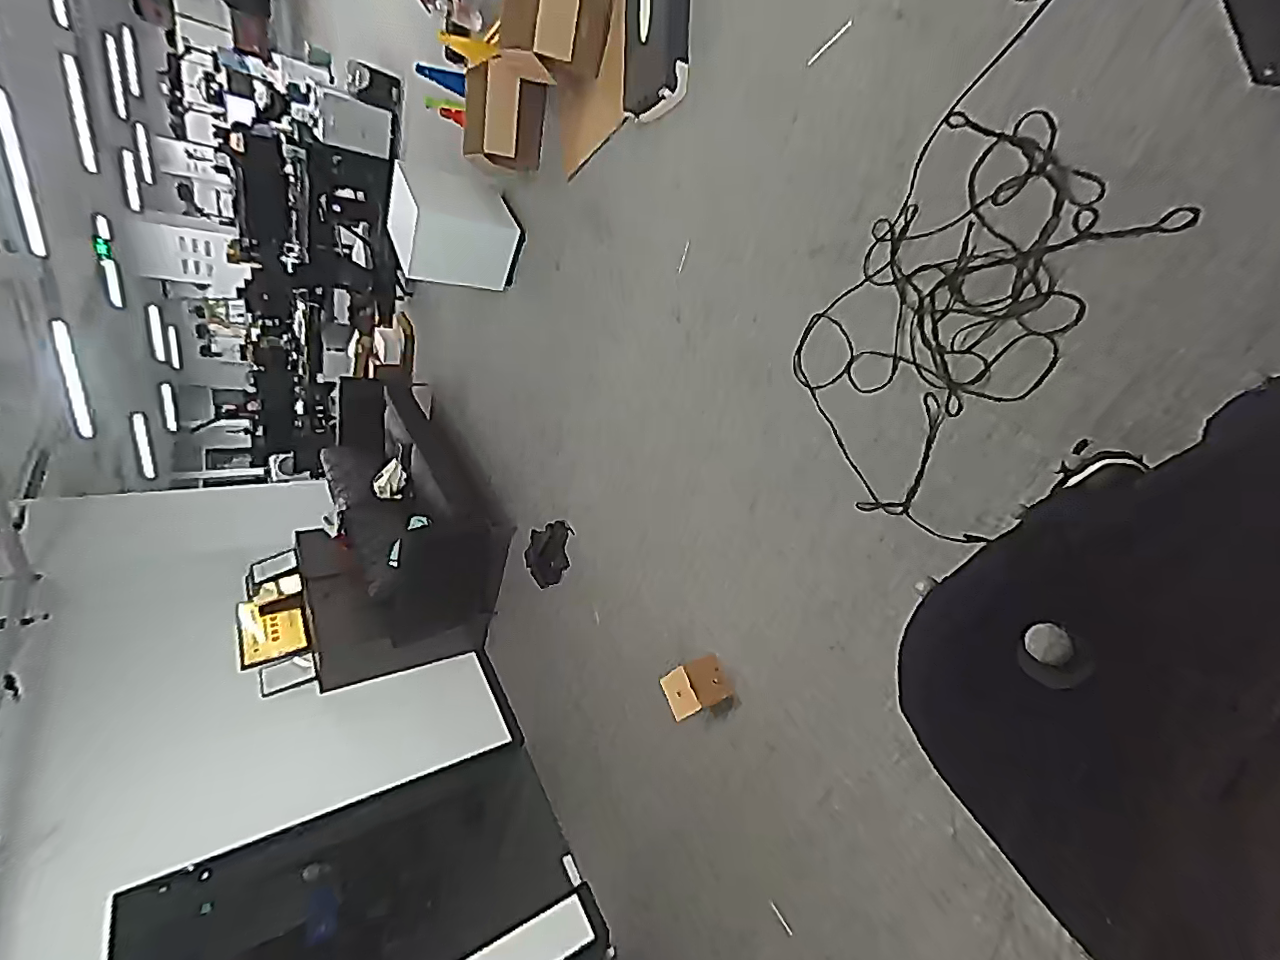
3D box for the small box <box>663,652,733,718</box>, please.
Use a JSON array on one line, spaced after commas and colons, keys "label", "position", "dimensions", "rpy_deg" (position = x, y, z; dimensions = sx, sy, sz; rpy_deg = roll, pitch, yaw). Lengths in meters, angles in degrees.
[{"label": "small box", "position": [0.221, 0.777, 2.055], "dimensions": [0.179, 0.176, 0.168], "rpy_deg": [-52, 53, 43]}]
